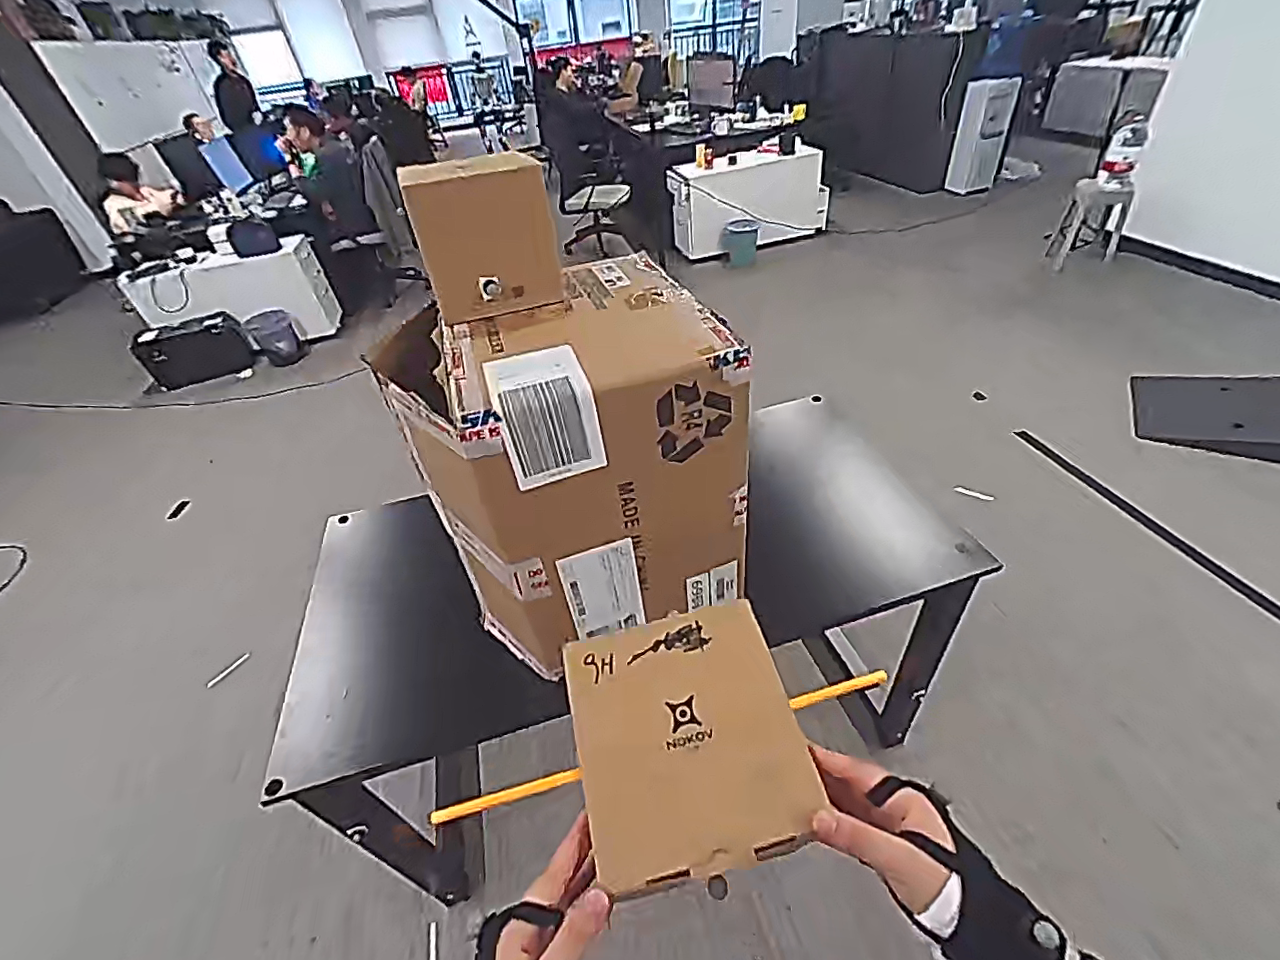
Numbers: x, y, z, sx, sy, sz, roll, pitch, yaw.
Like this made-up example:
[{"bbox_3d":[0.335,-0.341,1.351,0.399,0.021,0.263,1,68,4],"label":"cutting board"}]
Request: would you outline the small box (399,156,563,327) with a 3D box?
[{"bbox_3d":[-0.215,-0.328,0.739,0.168,0.176,0.179,-19,40,-13],"label":"small box"}]
